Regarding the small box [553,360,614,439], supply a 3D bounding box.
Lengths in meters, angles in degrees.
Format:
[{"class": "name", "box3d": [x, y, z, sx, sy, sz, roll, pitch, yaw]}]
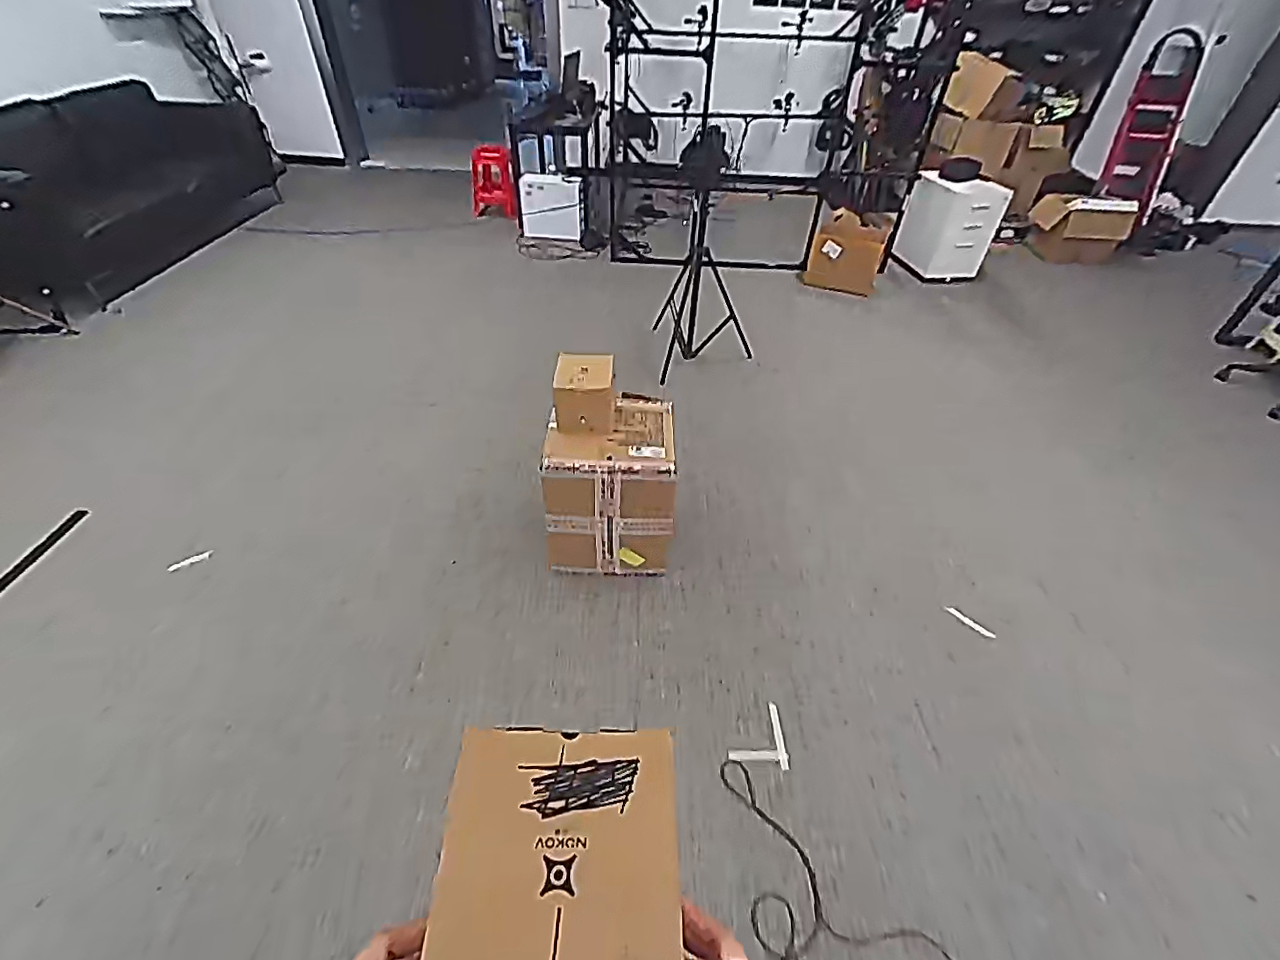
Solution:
[{"class": "small box", "box3d": [-0.165, -0.244, 1.636, 0.168, 0.176, 0.179, 1, 45, 0]}]
